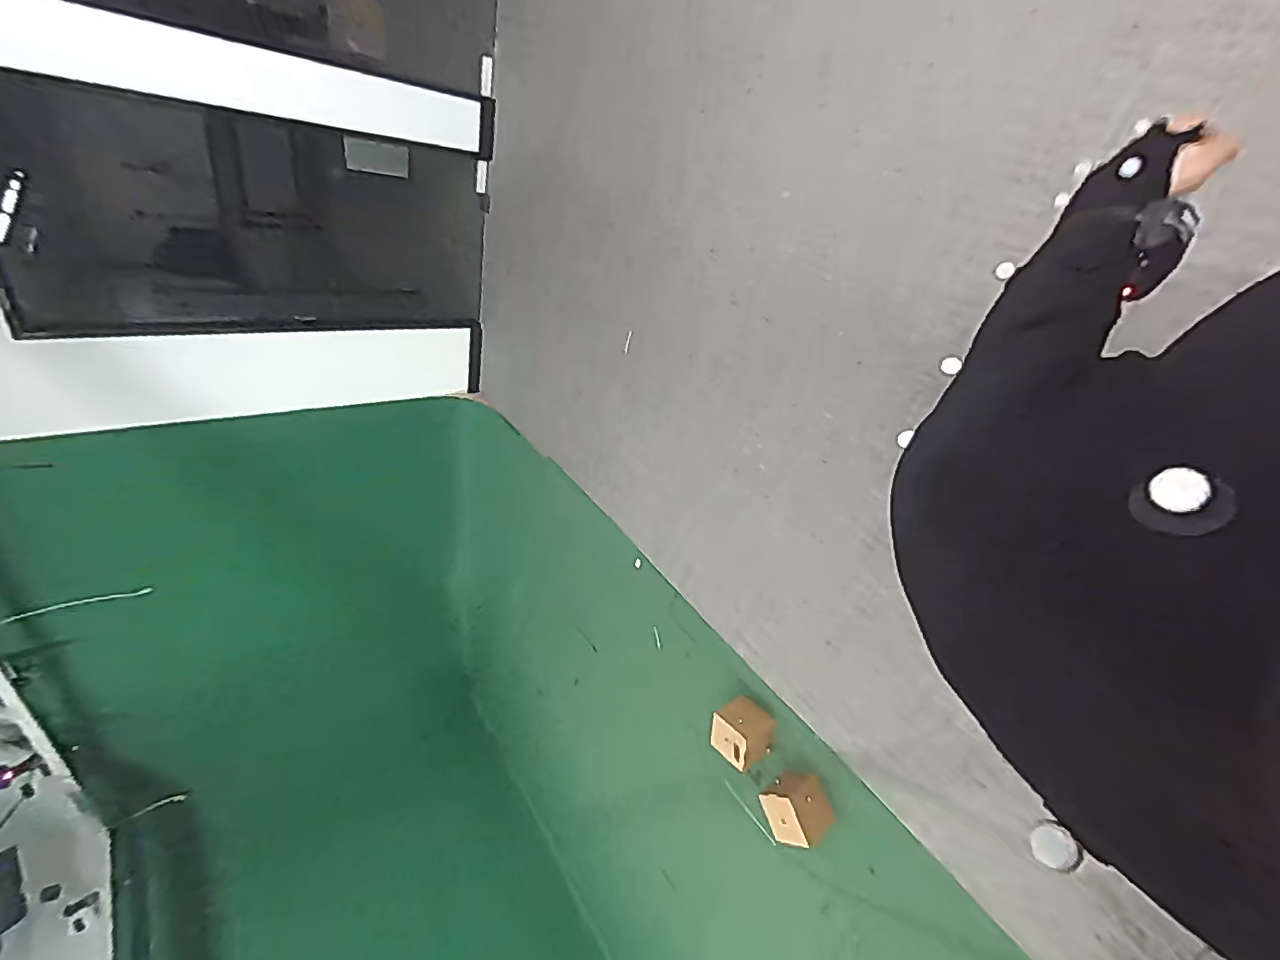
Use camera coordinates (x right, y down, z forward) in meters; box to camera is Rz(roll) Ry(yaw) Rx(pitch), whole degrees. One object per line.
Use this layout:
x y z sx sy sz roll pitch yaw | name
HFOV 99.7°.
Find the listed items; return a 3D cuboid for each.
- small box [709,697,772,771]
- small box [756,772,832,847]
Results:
0.398 0.995 2.140 0.179 0.176 0.168 25 120 46 | small box
0.569 1.204 1.991 0.168 0.176 0.179 -35 74 51 | small box
